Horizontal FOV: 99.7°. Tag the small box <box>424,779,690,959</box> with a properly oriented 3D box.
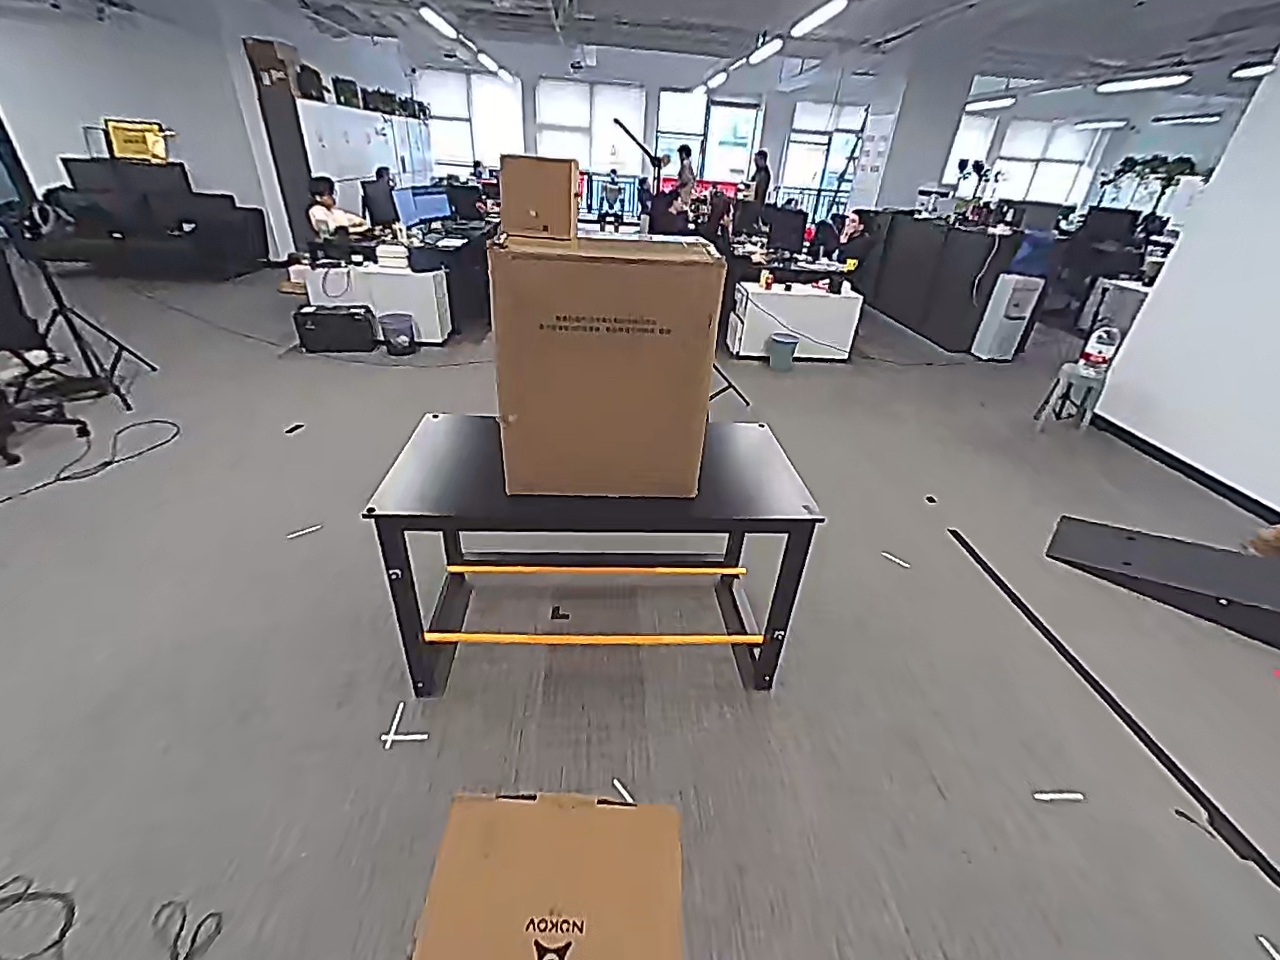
[{"bbox_3d":[-0.058,0.346,0.395,0.168,0.176,0.179,5,43,-3],"label":"small box"}]

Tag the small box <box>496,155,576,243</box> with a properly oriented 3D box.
[{"bbox_3d":[-0.247,-0.683,1.314,0.168,0.176,0.179,2,31,-2],"label":"small box"}]
